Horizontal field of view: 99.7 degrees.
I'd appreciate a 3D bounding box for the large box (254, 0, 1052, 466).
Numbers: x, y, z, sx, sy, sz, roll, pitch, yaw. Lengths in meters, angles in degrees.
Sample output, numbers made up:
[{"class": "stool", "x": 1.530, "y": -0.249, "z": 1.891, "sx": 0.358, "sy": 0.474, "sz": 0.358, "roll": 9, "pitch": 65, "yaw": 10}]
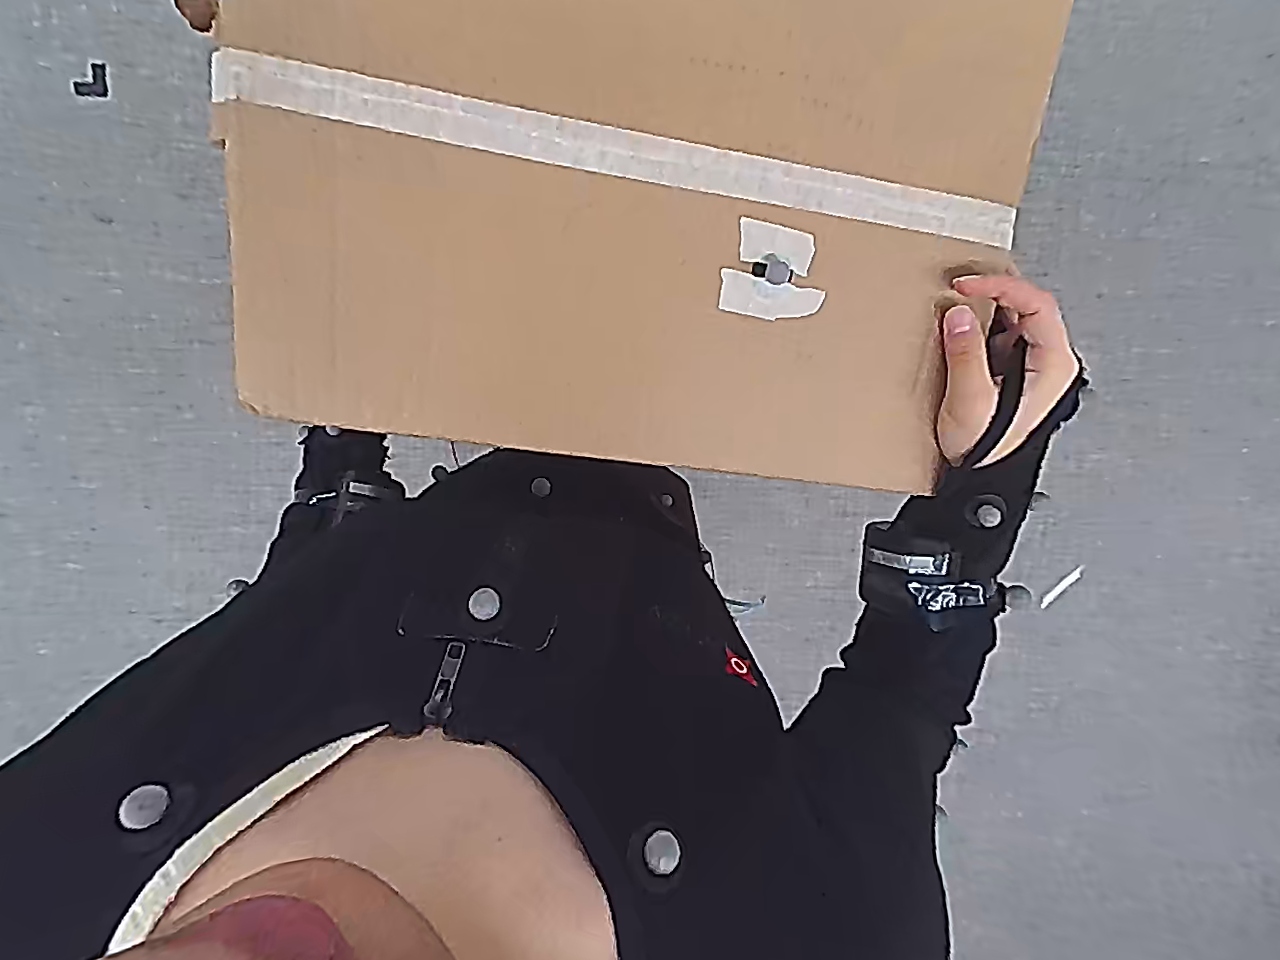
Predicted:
[{"class": "large box", "x": -0.008, "y": -0.207, "z": 0.428, "sx": 0.408, "sy": 0.320, "sz": 0.320, "roll": 6, "pitch": 104, "yaw": -10}]
